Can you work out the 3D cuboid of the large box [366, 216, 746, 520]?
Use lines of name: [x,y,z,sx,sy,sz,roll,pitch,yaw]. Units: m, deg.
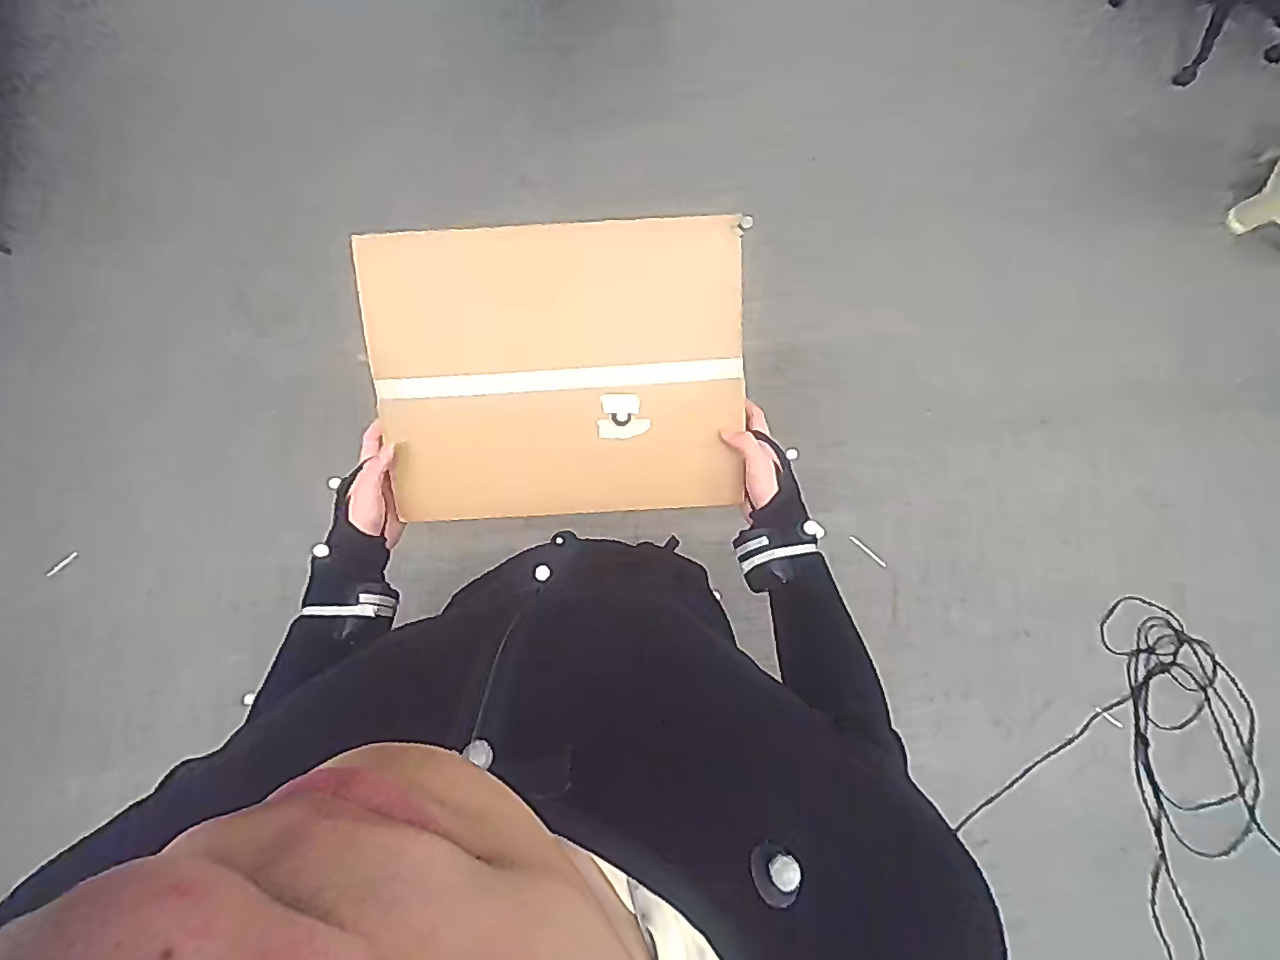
large box: [-0.088,-0.148,0.749,0.408,0.320,0.320,-4,104,-1]
